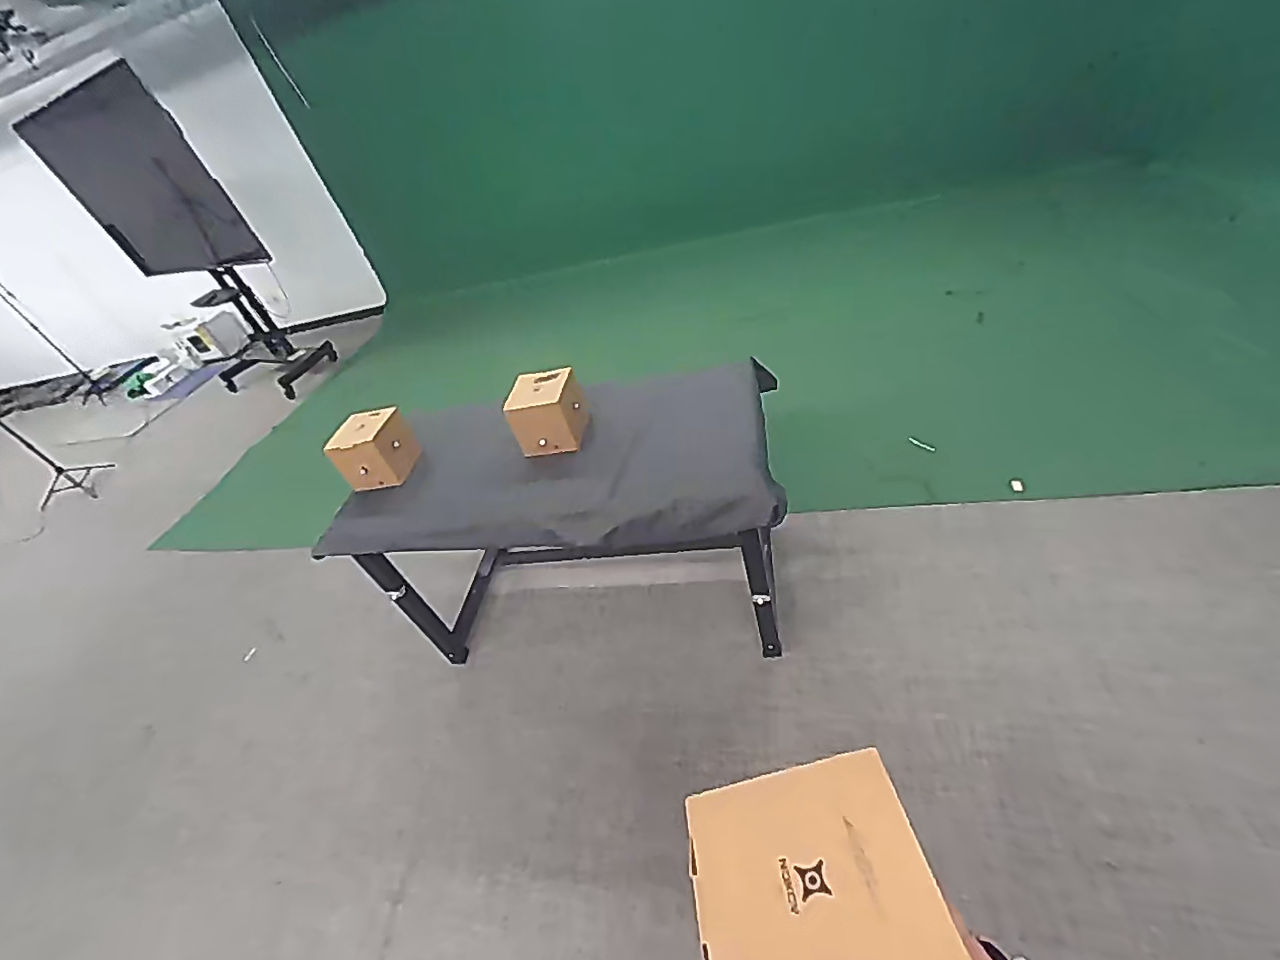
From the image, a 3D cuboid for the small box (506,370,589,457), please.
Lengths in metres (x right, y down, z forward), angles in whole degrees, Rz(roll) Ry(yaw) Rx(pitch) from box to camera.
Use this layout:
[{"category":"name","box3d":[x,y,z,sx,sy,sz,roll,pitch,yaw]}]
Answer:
[{"category":"small box","box3d":[-0.254,-0.188,1.545,0.168,0.176,0.179,-6,42,15]}]

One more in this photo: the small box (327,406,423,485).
[{"category":"small box","box3d":[-0.791,-0.096,1.637,0.168,0.176,0.179,-7,42,12]}]

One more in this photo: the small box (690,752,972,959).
[{"category":"small box","box3d":[0.159,0.370,0.457,0.179,0.176,0.168,-19,34,7]}]
